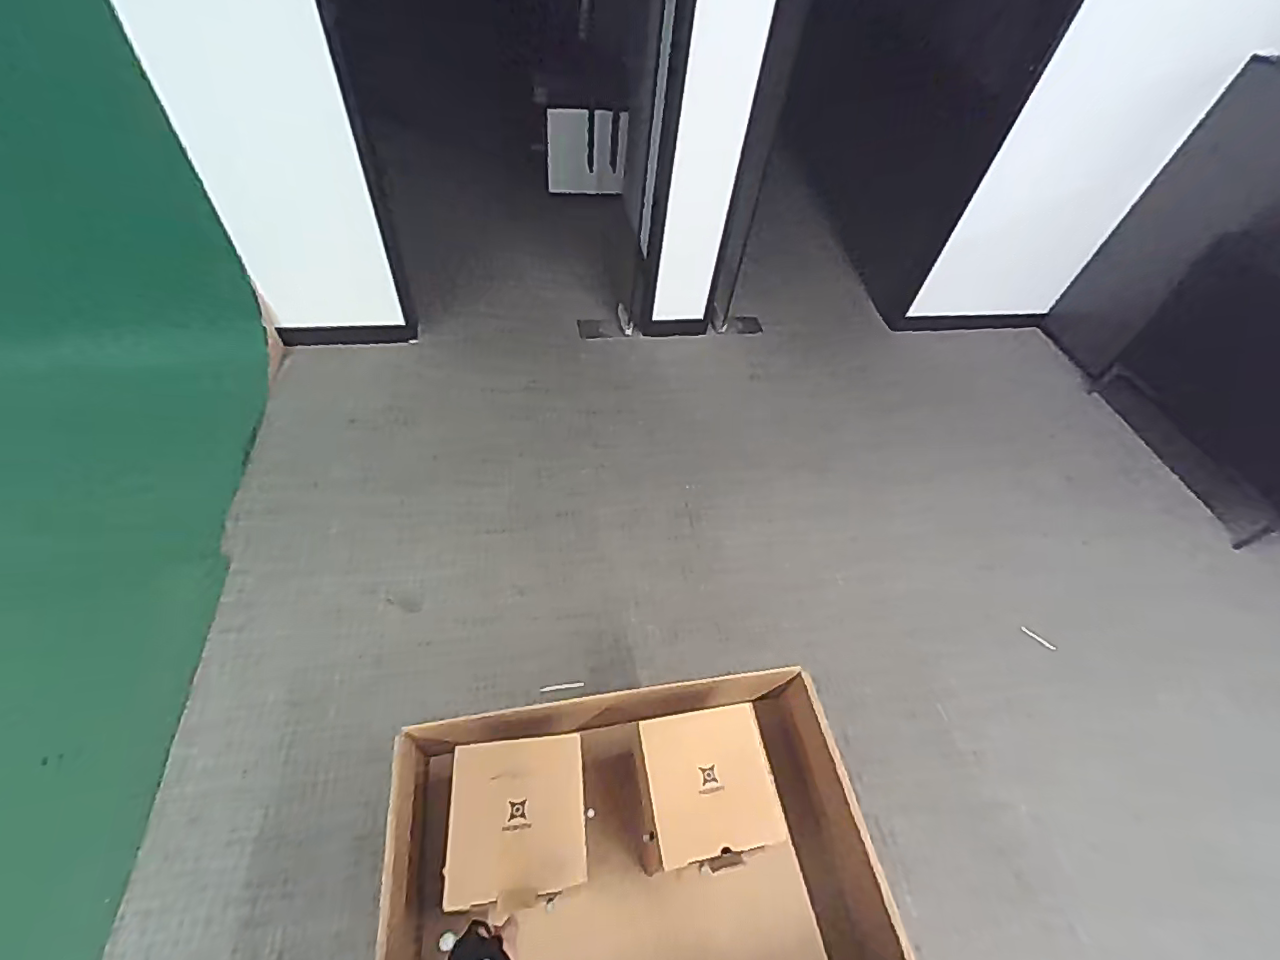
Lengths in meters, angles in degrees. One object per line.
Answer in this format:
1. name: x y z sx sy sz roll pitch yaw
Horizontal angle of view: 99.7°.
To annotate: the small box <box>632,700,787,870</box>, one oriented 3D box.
1. small box: 0.086 0.443 0.783 0.168 0.176 0.179 -6 54 -10
